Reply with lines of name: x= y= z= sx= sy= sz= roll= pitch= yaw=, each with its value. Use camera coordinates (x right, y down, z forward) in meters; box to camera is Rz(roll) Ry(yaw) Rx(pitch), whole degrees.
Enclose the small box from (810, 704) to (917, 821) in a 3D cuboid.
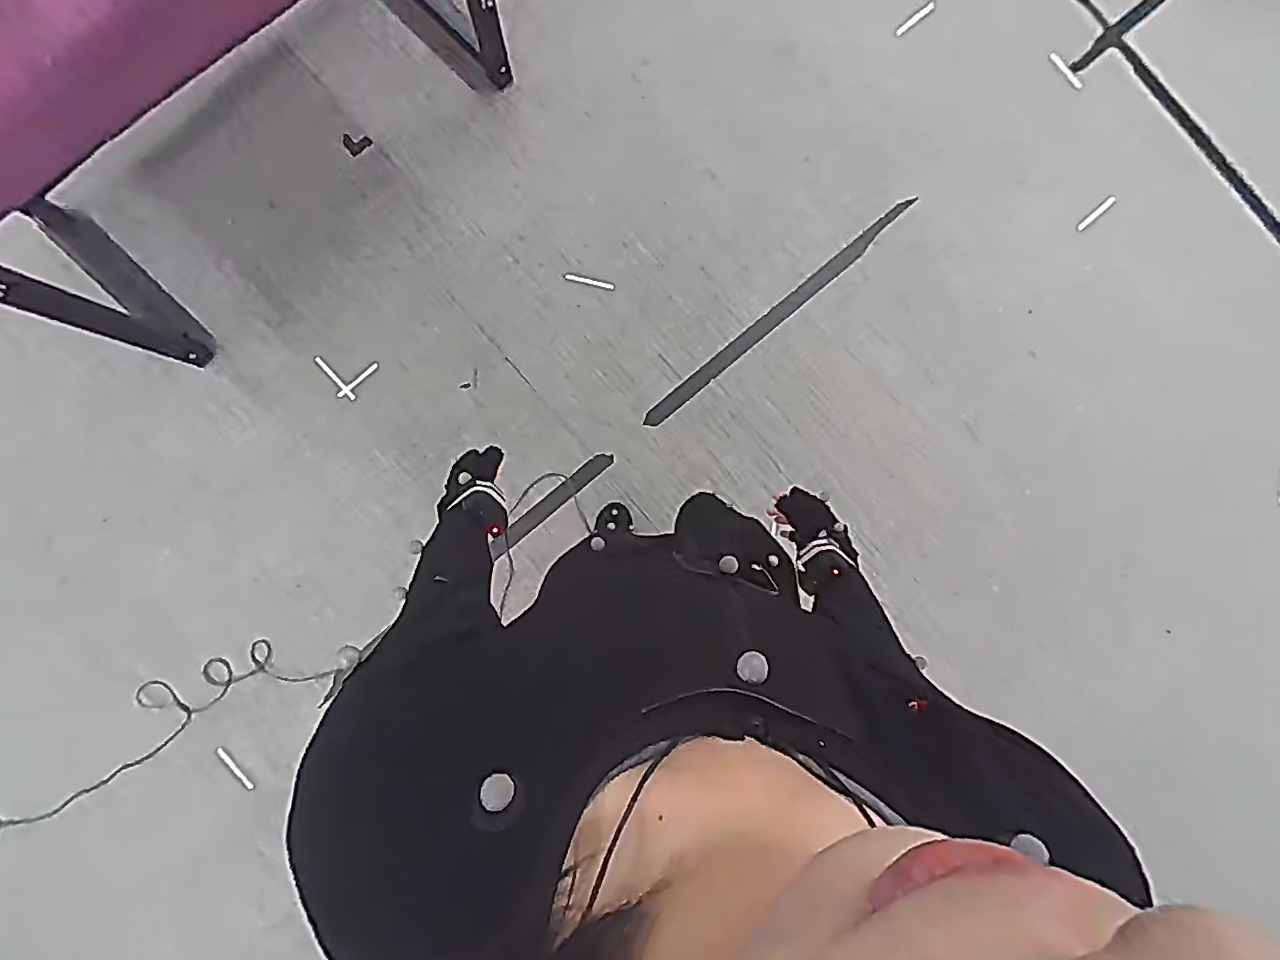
small box: x=0.569 y=0.727 z=1.411 sx=0.179 sy=0.176 sz=0.168 roll=-36 pitch=90 yaw=-4
